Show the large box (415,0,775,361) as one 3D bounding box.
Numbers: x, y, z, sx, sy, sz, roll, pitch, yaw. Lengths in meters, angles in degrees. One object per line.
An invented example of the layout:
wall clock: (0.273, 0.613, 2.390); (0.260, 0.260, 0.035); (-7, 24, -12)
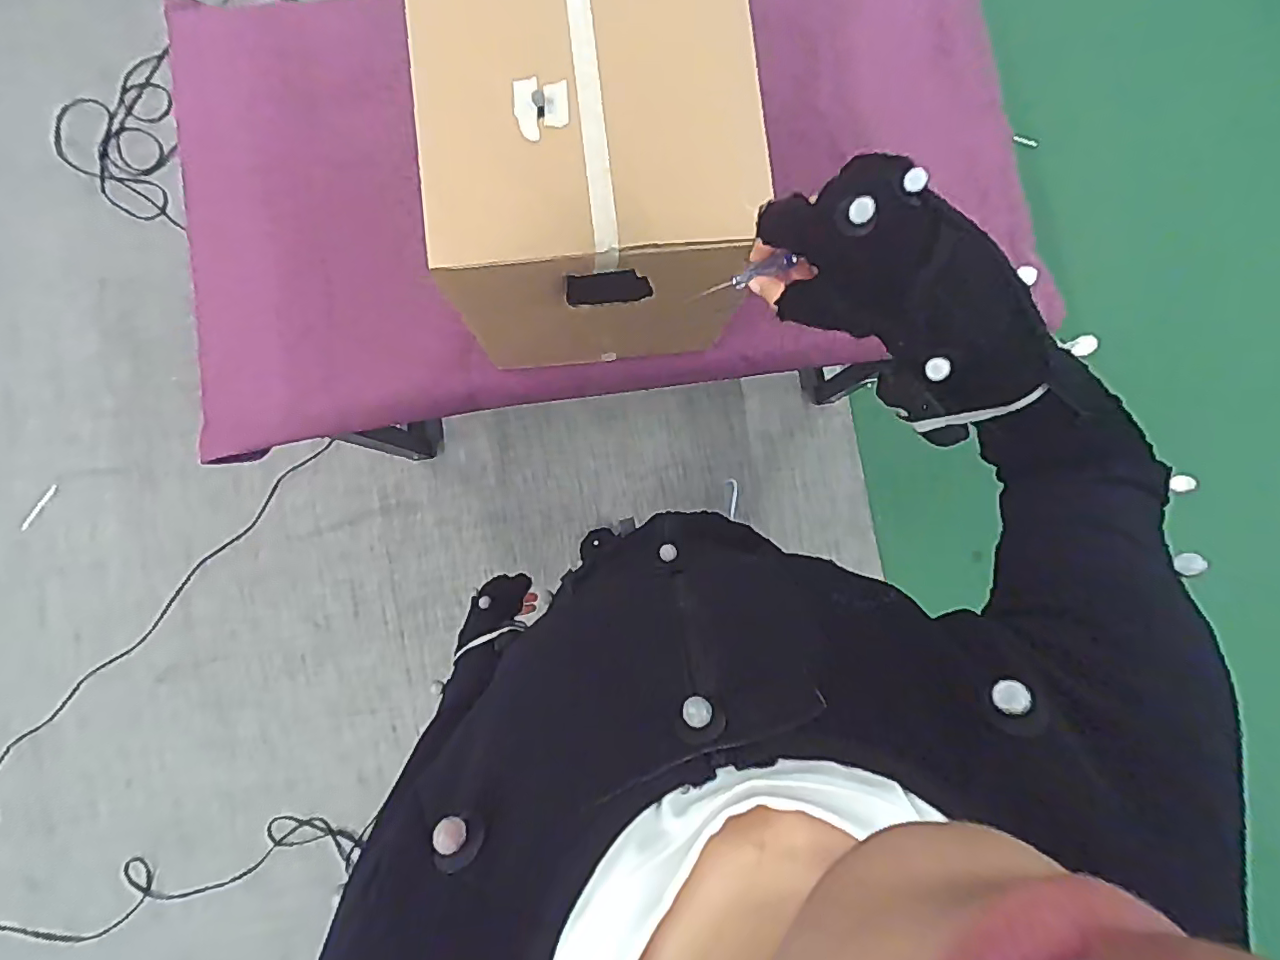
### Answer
large box: (-0.059, -0.391, 0.654); (0.320, 0.320, 0.408); (-6, 87, -3)
